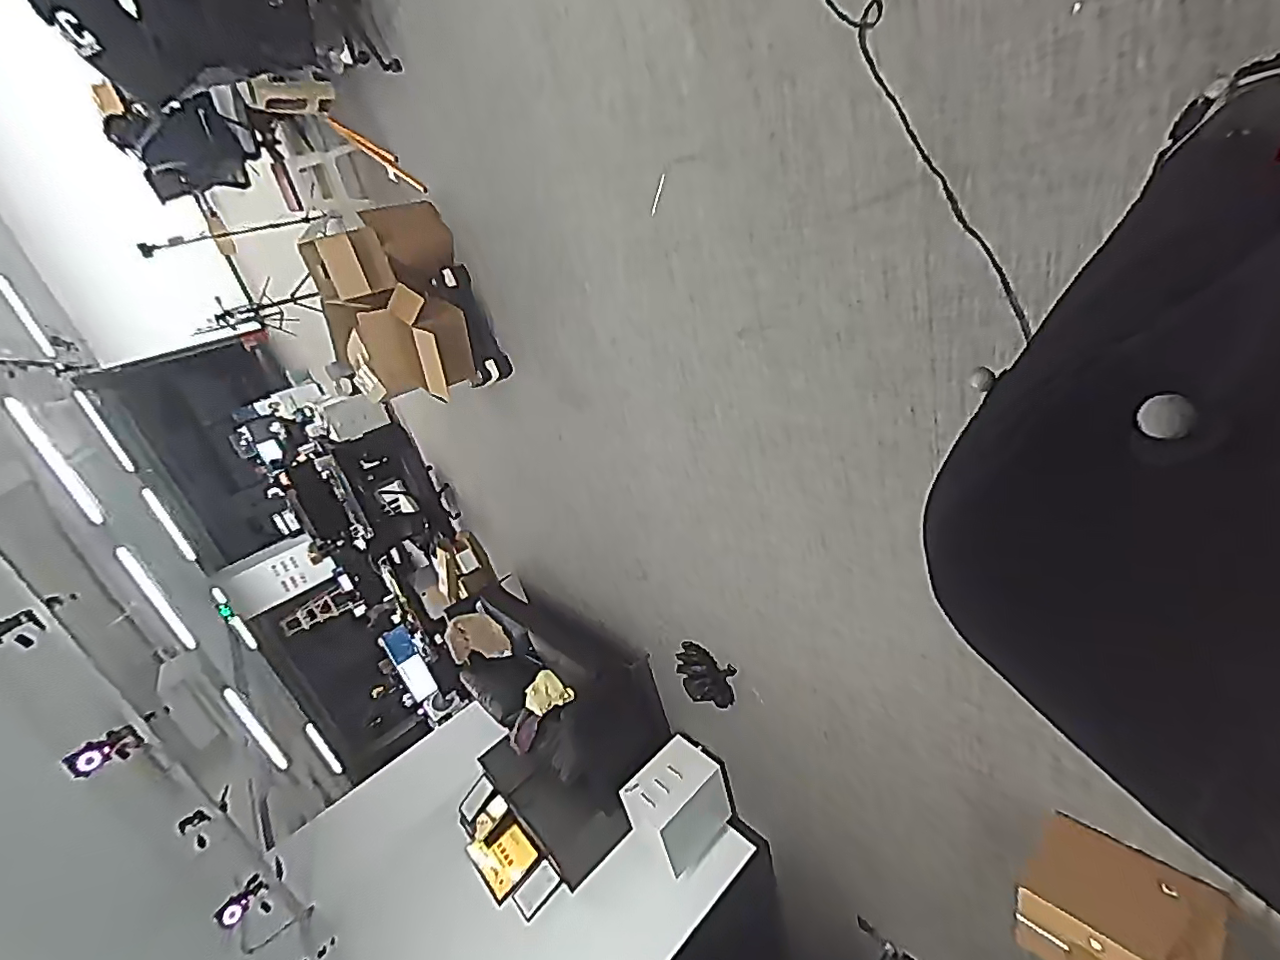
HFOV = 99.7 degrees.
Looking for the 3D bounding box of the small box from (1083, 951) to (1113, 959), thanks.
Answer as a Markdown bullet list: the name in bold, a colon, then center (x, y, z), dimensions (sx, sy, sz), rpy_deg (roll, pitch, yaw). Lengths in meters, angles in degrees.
- **small box**: center (1.276, 1.430, 1.455), dimensions (0.179, 0.176, 0.168), rpy_deg (20, 128, 46)
